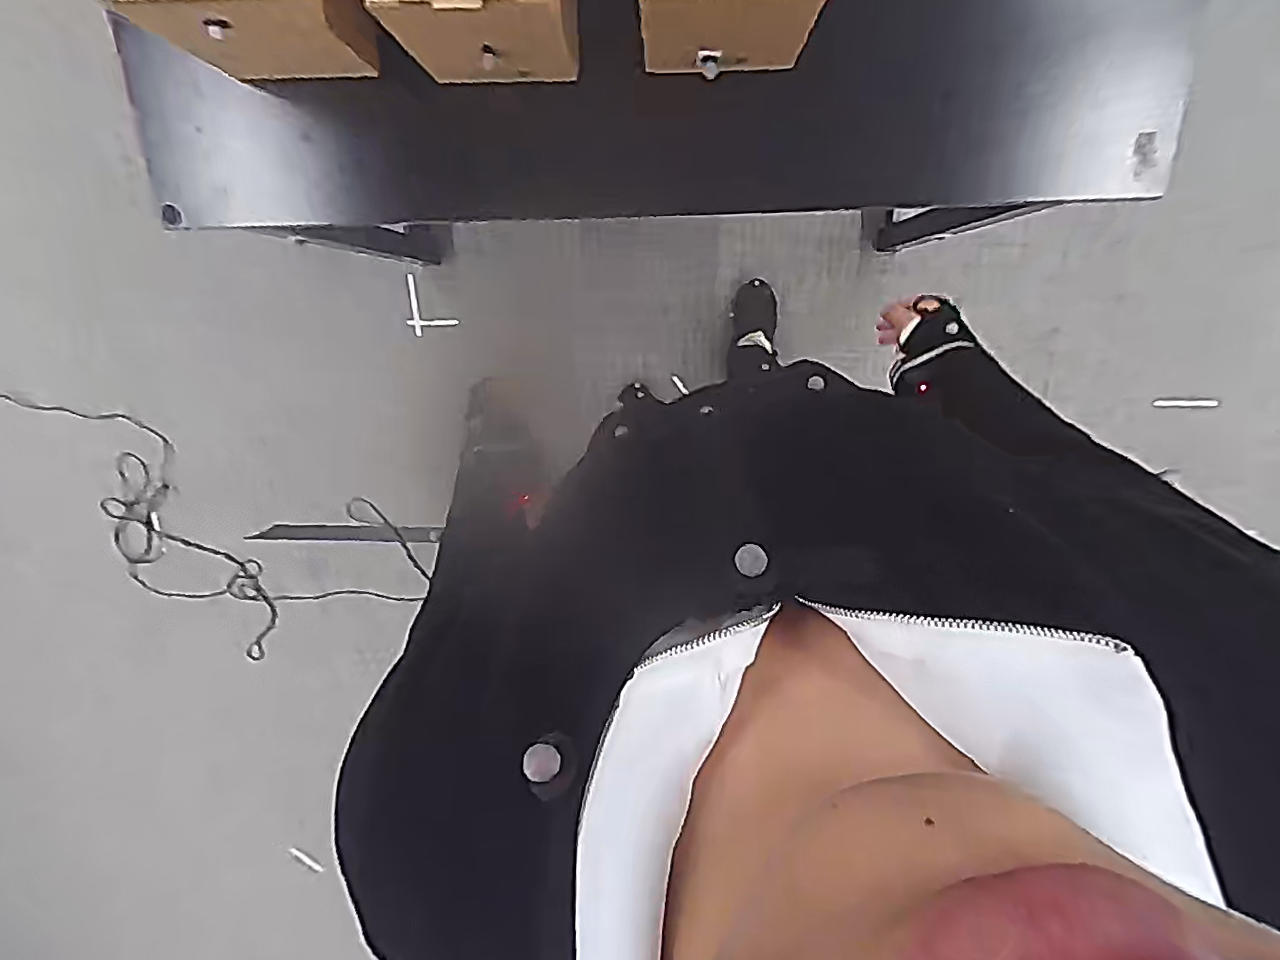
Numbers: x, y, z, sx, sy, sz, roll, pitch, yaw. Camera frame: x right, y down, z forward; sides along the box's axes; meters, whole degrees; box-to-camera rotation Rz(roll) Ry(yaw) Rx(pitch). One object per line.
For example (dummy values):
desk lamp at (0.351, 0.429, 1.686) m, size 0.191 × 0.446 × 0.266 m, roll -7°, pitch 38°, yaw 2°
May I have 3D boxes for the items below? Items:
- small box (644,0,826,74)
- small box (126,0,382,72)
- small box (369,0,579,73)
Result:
small box at (0.085, -0.523, 0.511) m, size 0.168 × 0.176 × 0.179 m, roll -1°, pitch 108°, yaw 4°
small box at (-0.385, -0.526, 0.526) m, size 0.179 × 0.176 × 0.168 m, roll 0°, pitch 107°, yaw 2°
small box at (-0.152, -0.520, 0.519) m, size 0.168 × 0.176 × 0.179 m, roll 1°, pitch 108°, yaw 2°
